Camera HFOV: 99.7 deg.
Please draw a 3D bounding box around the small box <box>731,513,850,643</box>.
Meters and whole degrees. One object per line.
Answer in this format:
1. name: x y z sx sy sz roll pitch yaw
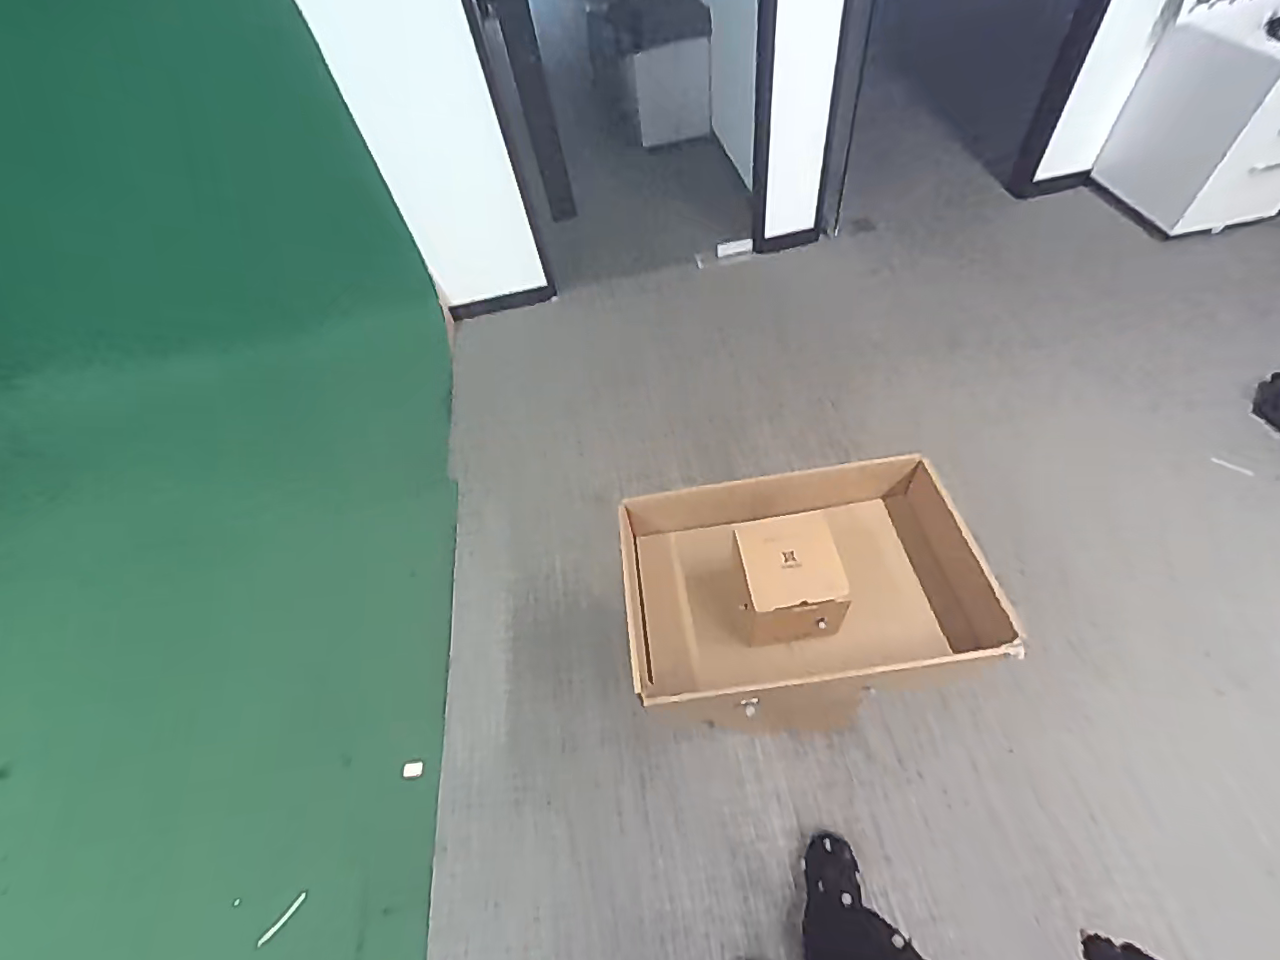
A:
1. small box: 0.268 0.188 1.004 0.168 0.176 0.179 -9 51 0
